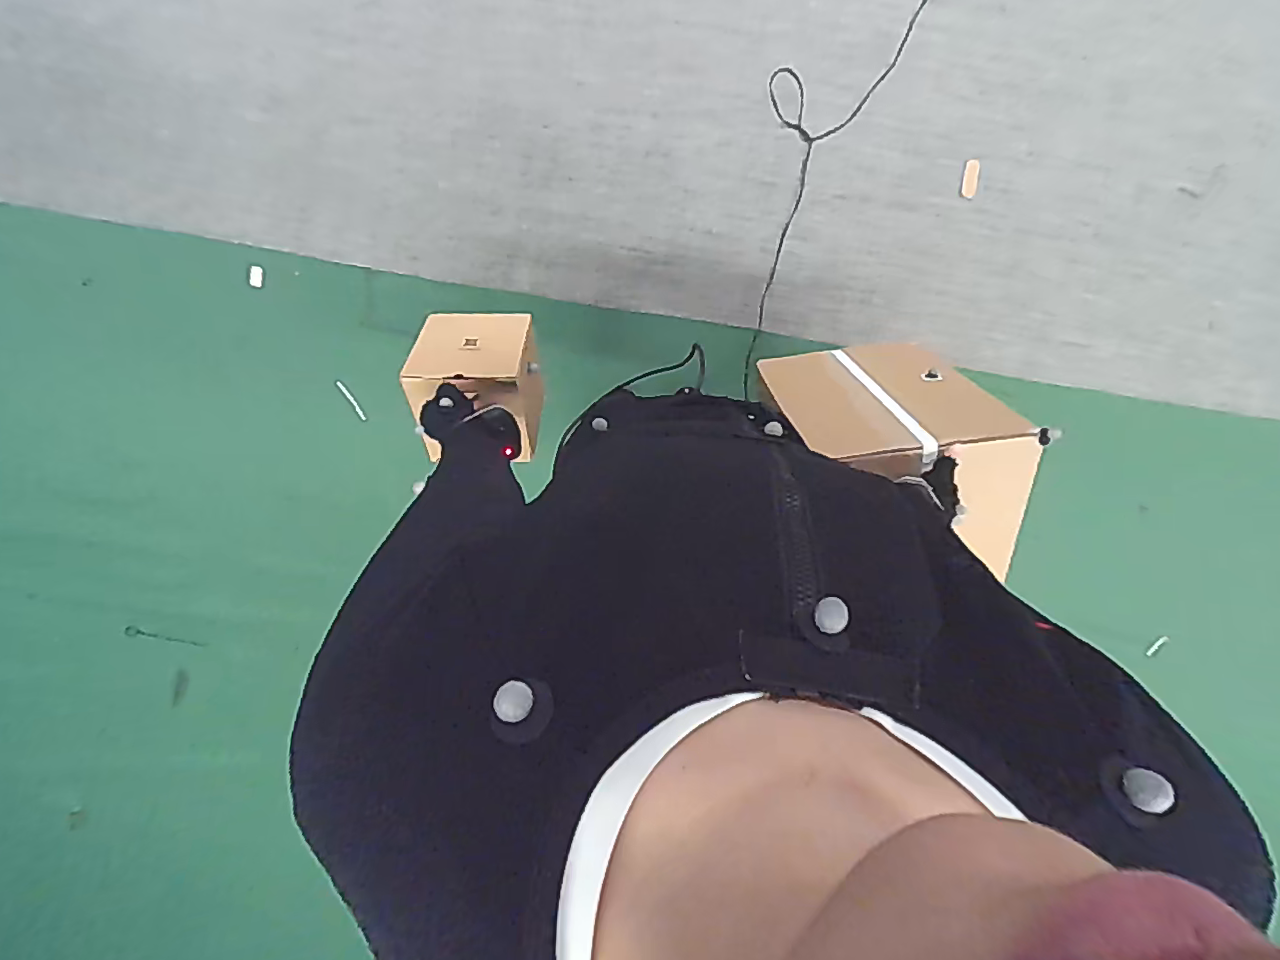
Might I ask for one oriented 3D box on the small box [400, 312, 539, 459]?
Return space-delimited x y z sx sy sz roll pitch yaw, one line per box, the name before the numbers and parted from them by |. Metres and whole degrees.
small box | -0.261 -0.153 0.877 0.168 0.179 0.176 -1 137 -1
